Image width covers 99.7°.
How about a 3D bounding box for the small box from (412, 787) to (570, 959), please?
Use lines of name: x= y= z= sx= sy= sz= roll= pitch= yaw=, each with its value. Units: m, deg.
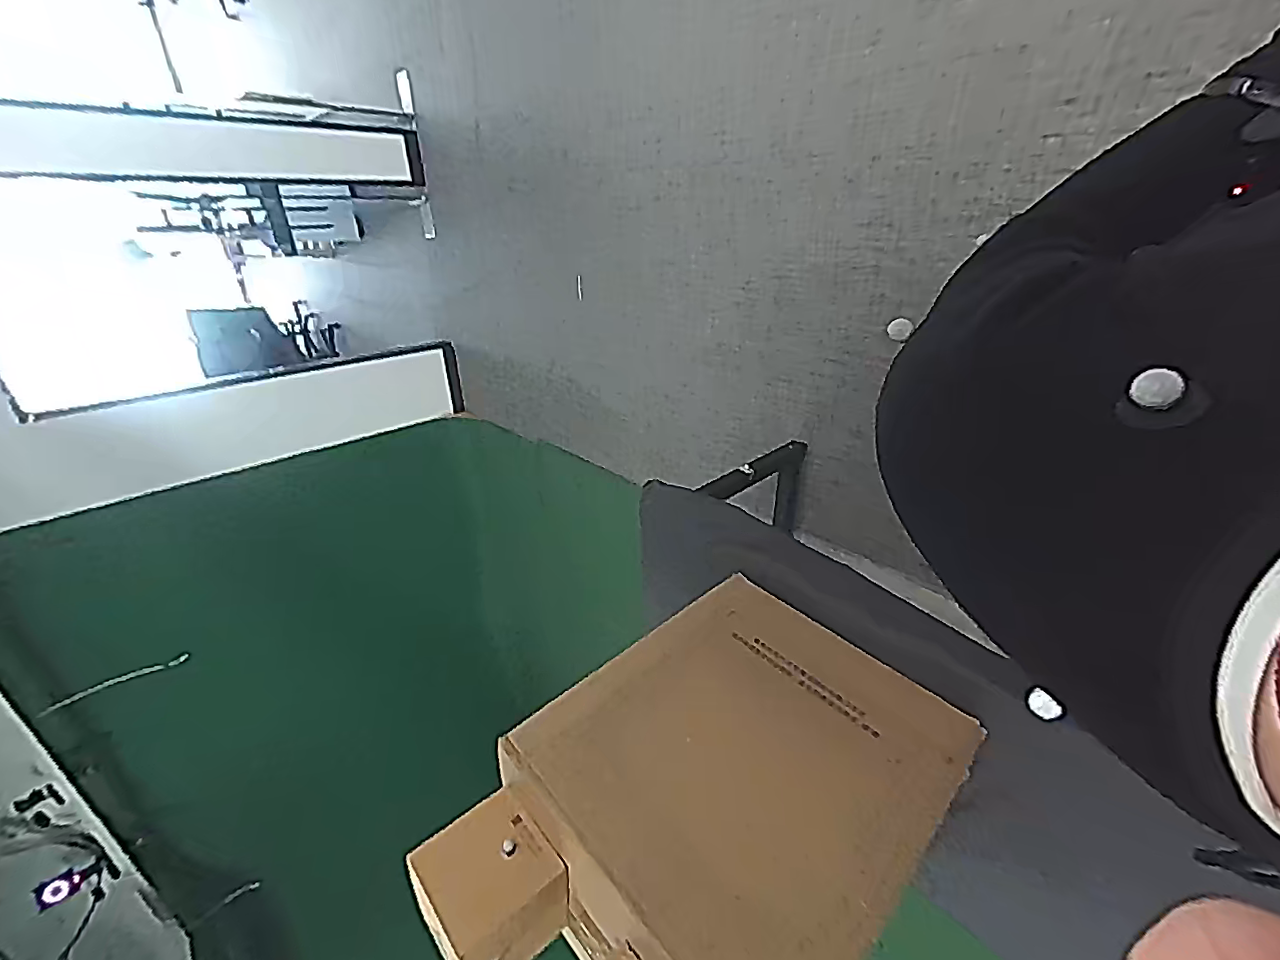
small box: x=-0.219 y=0.619 z=0.817 sx=0.168 sy=0.176 sz=0.179 roll=30 pitch=127 yaw=39
